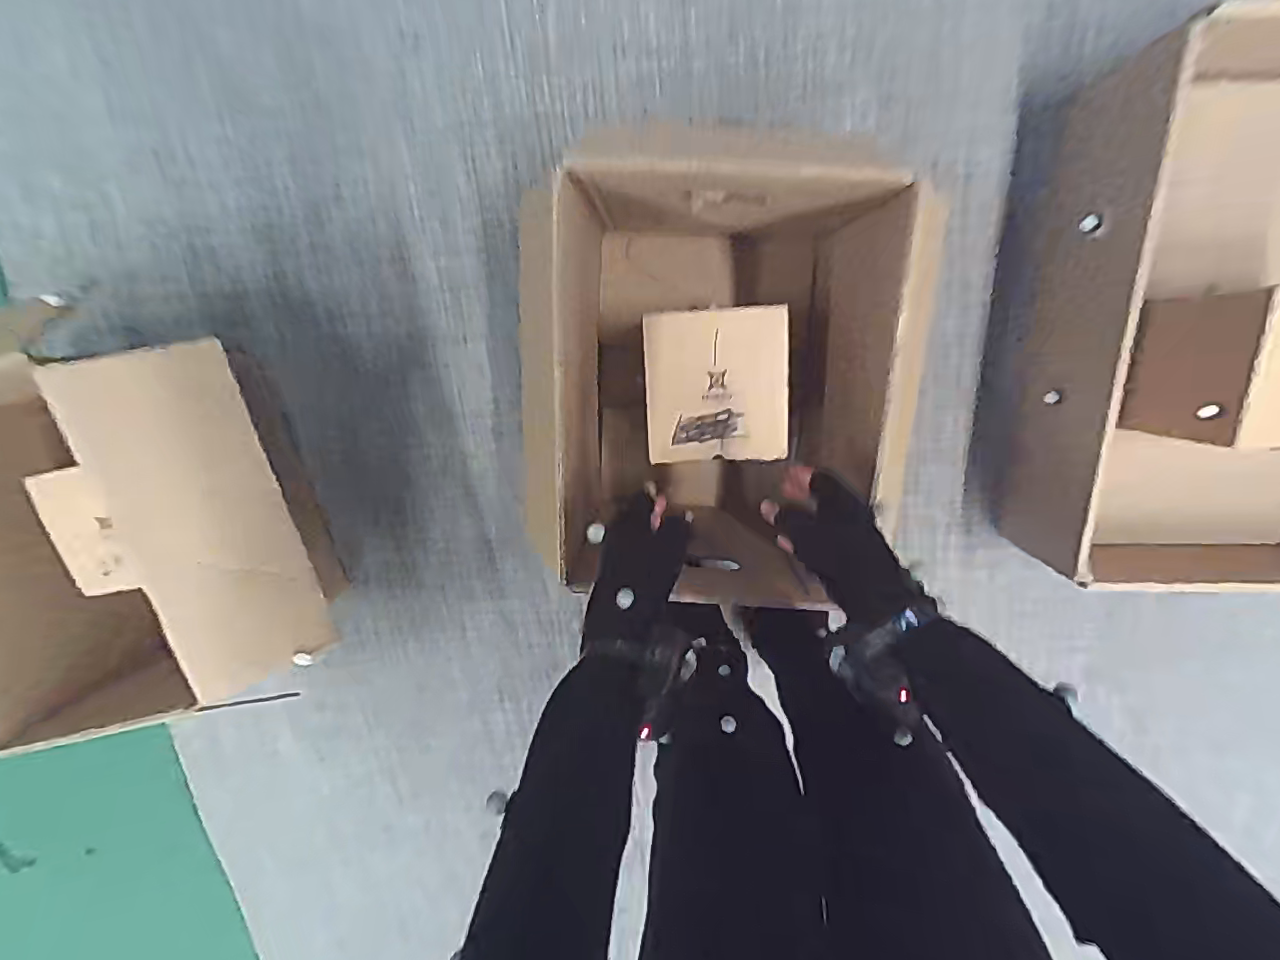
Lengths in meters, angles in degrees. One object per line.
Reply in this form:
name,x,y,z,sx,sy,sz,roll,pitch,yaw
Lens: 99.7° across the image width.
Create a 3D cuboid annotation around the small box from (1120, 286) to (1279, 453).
small box,0.732,-0.133,0.646,0.168,0.176,0.179,-1,104,3
